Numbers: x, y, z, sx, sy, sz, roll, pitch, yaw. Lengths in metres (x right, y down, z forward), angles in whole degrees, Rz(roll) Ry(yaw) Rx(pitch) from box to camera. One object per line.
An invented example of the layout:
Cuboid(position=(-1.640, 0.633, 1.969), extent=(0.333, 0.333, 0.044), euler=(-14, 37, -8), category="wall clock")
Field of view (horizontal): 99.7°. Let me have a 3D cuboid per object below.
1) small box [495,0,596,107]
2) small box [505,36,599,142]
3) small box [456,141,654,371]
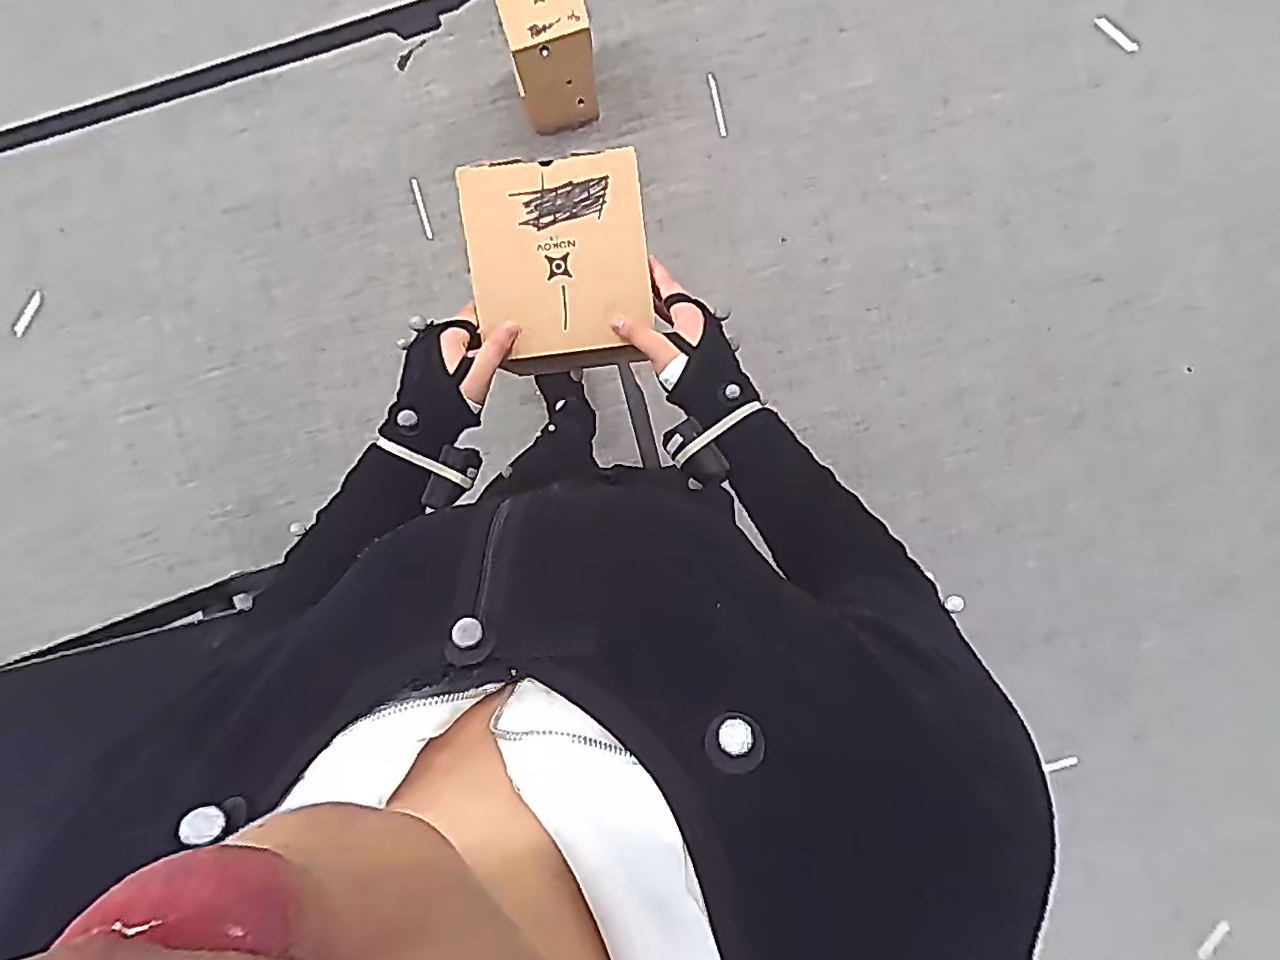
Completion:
Cuboid(position=(-0.198, -0.939, 1.135), extent=(0.168, 0.176, 0.179), euler=(-17, 95, 1), category="small box")
Cuboid(position=(-0.201, -0.956, 1.298), extent=(0.179, 0.176, 0.168), euler=(-15, 95, 2), category="small box")
Cuboid(position=(-0.079, -0.220, 0.574), extent=(0.168, 0.176, 0.179), euler=(-7, 96, 0), category="small box")
